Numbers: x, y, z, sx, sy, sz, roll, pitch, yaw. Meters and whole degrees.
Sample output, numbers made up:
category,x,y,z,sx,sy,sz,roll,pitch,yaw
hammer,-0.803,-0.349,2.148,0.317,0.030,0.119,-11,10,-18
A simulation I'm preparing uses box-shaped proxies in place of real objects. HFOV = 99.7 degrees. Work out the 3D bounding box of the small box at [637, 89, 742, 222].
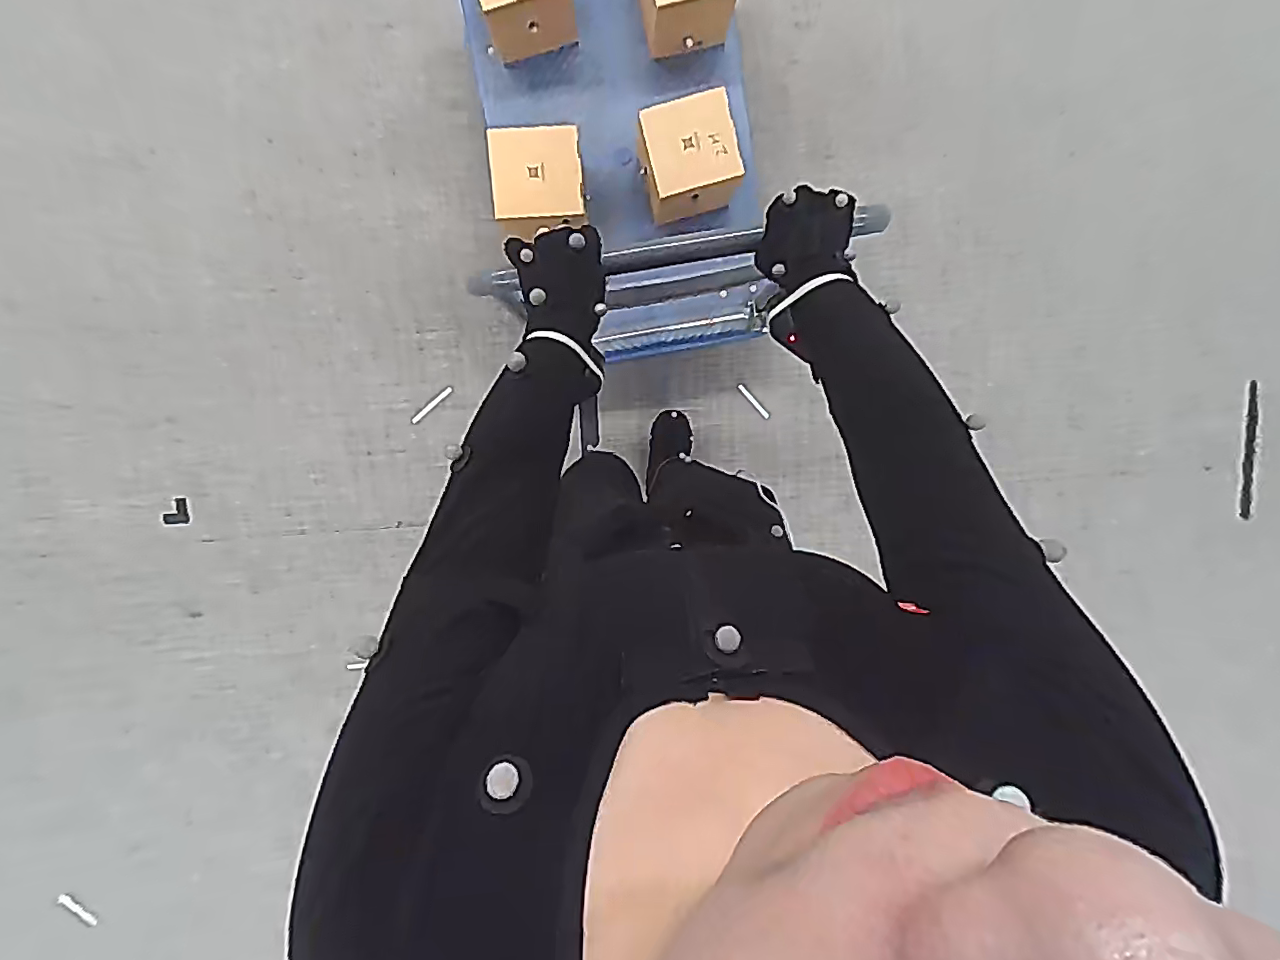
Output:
category,x,y,z,sx,sy,sz,roll,pitch,yaw
small box,0.097,-0.665,1.132,0.179,0.176,0.168,-15,98,1

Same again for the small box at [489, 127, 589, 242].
category,x,y,z,sx,sy,sz,roll,pitch,yaw
small box,-0.204,-0.609,1.134,0.179,0.176,0.168,-4,98,-2

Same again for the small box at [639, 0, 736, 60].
category,x,y,z,sx,sy,sz,roll,pitch,yaw
small box,0.086,-1.000,1.084,0.168,0.176,0.179,-13,99,0
